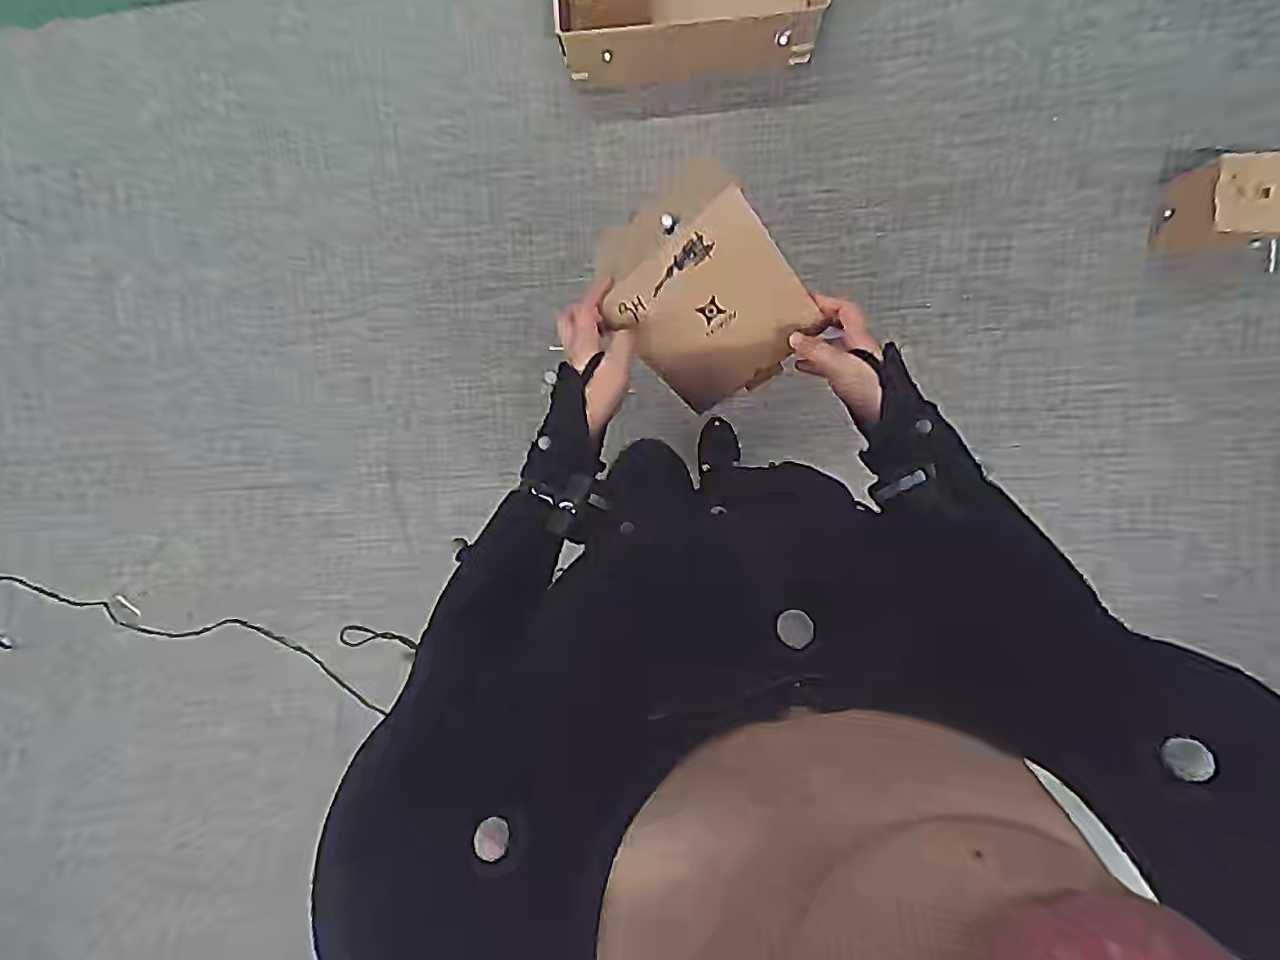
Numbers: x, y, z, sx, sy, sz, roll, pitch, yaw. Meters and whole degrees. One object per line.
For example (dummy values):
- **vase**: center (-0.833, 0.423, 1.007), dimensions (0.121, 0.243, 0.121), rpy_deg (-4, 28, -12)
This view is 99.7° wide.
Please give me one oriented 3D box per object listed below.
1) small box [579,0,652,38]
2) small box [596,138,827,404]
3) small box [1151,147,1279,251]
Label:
- **small box**: center (-0.063, -1.174, 1.241), dimensions (0.168, 0.176, 0.179), rpy_deg (-5, 97, 5)
- **small box**: center (0.069, -0.223, 0.582), dimensions (0.168, 0.176, 0.179), rpy_deg (-33, 128, 24)
- **small box**: center (1.345, -0.637, 1.242), dimensions (0.179, 0.176, 0.168), rpy_deg (2, 95, 4)
